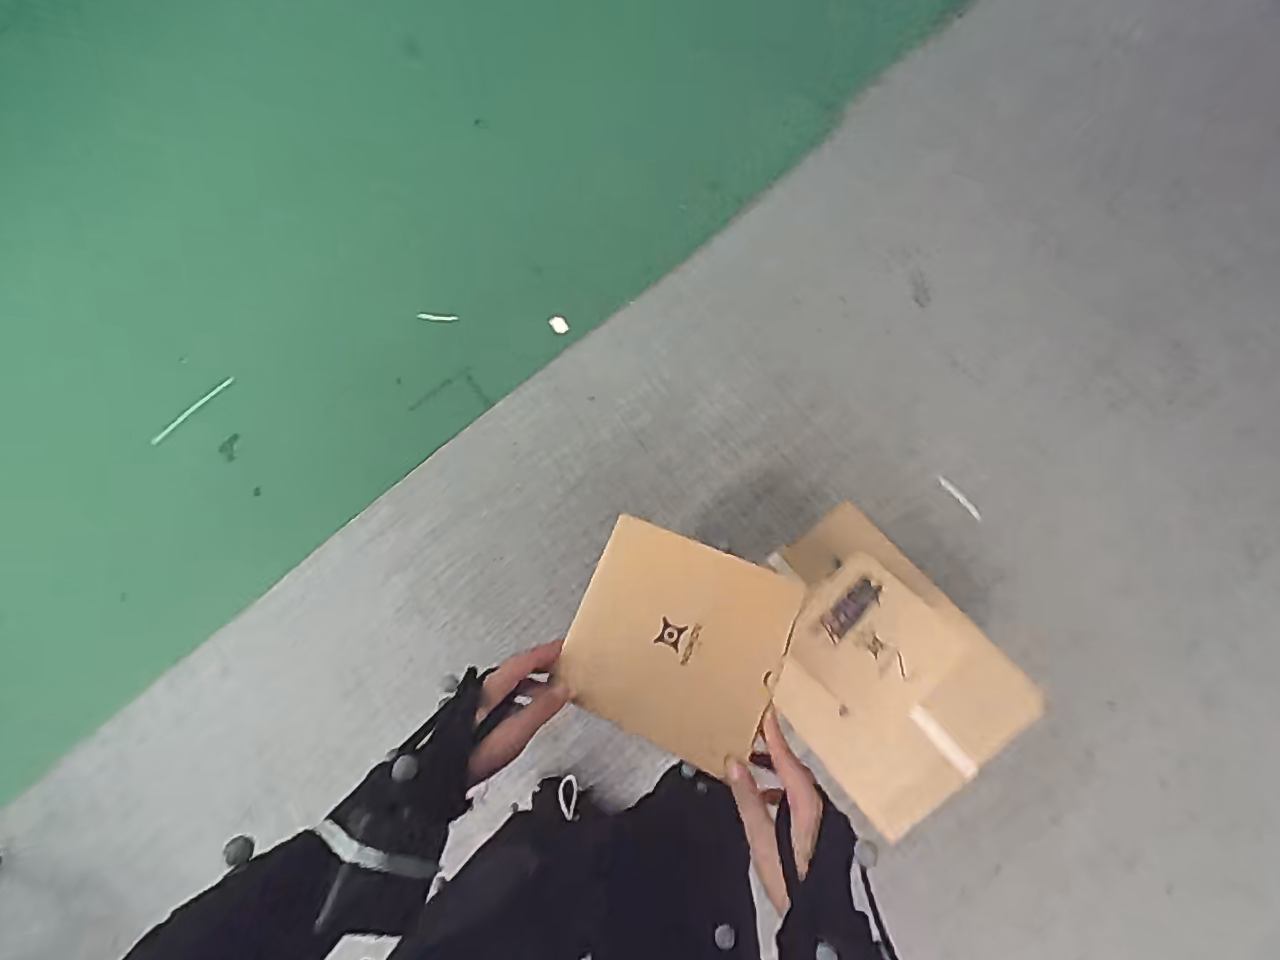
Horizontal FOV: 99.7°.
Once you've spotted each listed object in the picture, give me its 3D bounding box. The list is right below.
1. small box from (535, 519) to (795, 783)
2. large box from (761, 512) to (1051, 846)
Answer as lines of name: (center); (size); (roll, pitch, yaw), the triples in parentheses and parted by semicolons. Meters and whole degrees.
small box: (0.031, 0.159, 0.524); (0.179, 0.176, 0.168); (19, 75, 13)
large box: (0.383, 0.323, 0.977); (0.320, 0.320, 0.408); (-41, 72, 1)
